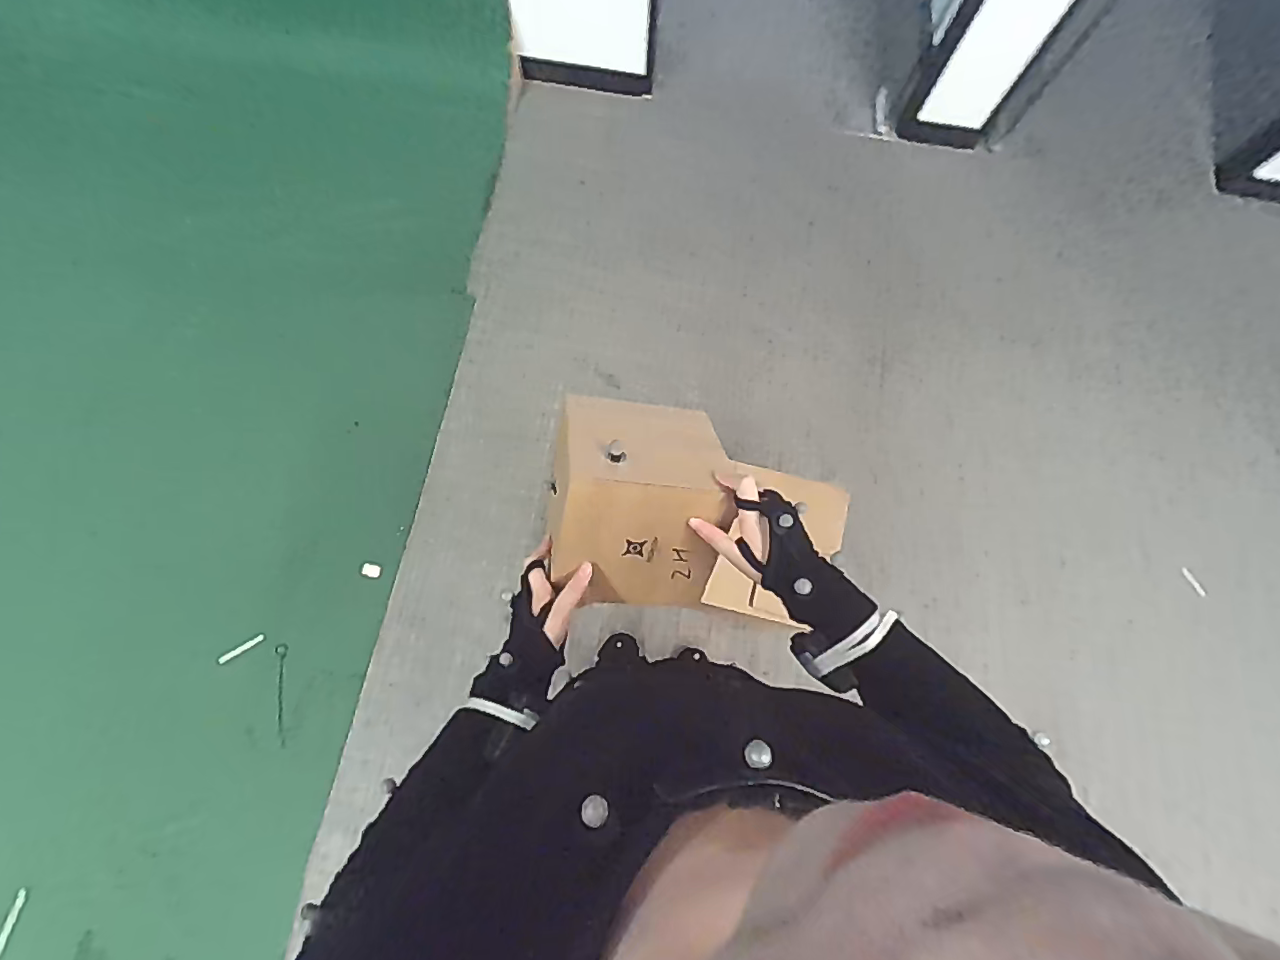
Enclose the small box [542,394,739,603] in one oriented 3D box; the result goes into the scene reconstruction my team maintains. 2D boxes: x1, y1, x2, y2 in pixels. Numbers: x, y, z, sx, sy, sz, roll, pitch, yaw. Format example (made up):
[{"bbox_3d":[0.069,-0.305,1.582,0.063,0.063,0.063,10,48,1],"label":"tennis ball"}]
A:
[{"bbox_3d":[-0.014,0.017,0.615,0.179,0.168,0.176,6,36,-14],"label":"small box"}]
